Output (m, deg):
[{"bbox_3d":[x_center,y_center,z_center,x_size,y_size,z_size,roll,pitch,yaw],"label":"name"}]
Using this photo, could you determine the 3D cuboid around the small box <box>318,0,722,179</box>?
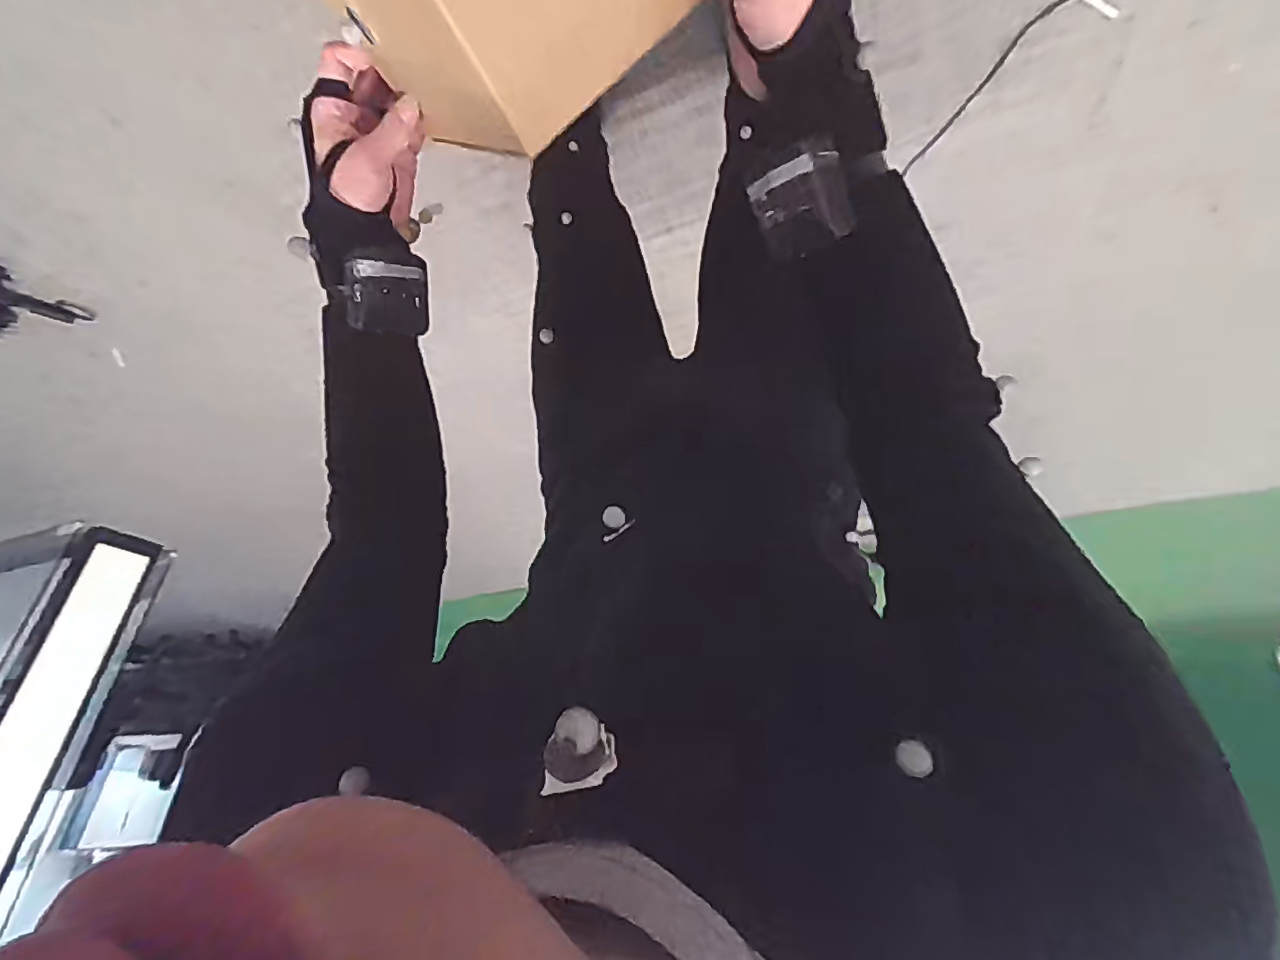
[{"bbox_3d":[-0.088,-0.304,0.297,0.168,0.179,0.176,-47,139,-4],"label":"small box"}]
